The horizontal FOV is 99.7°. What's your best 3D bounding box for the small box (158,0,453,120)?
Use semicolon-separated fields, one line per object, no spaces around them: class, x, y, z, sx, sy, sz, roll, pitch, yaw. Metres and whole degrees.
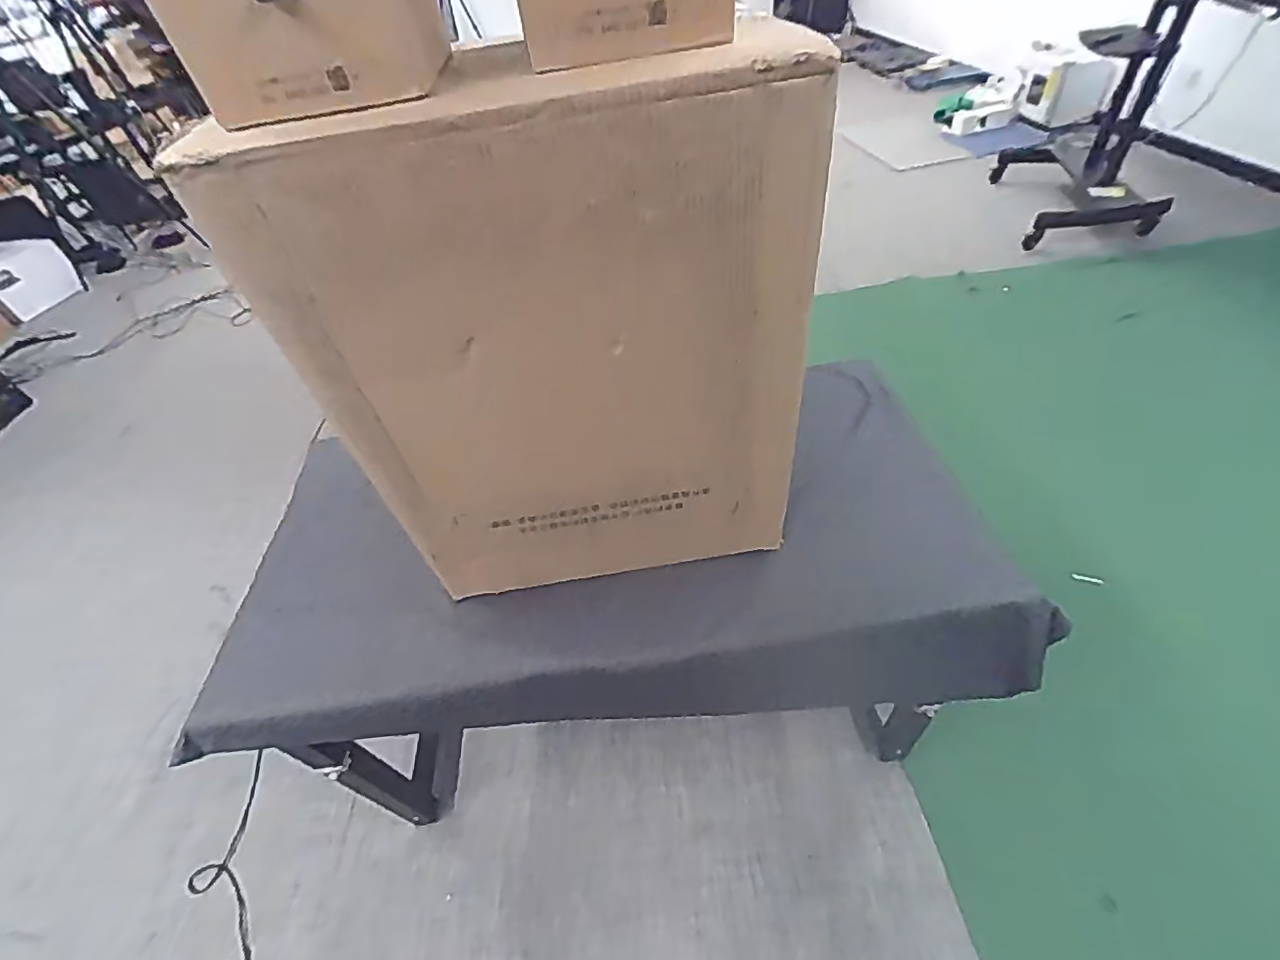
small box;-0.261;-0.403;0.421;0.168;0.176;0.179;-9;49;0

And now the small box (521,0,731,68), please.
small box;-0.020;-0.451;0.435;0.168;0.176;0.179;-7;47;-1
